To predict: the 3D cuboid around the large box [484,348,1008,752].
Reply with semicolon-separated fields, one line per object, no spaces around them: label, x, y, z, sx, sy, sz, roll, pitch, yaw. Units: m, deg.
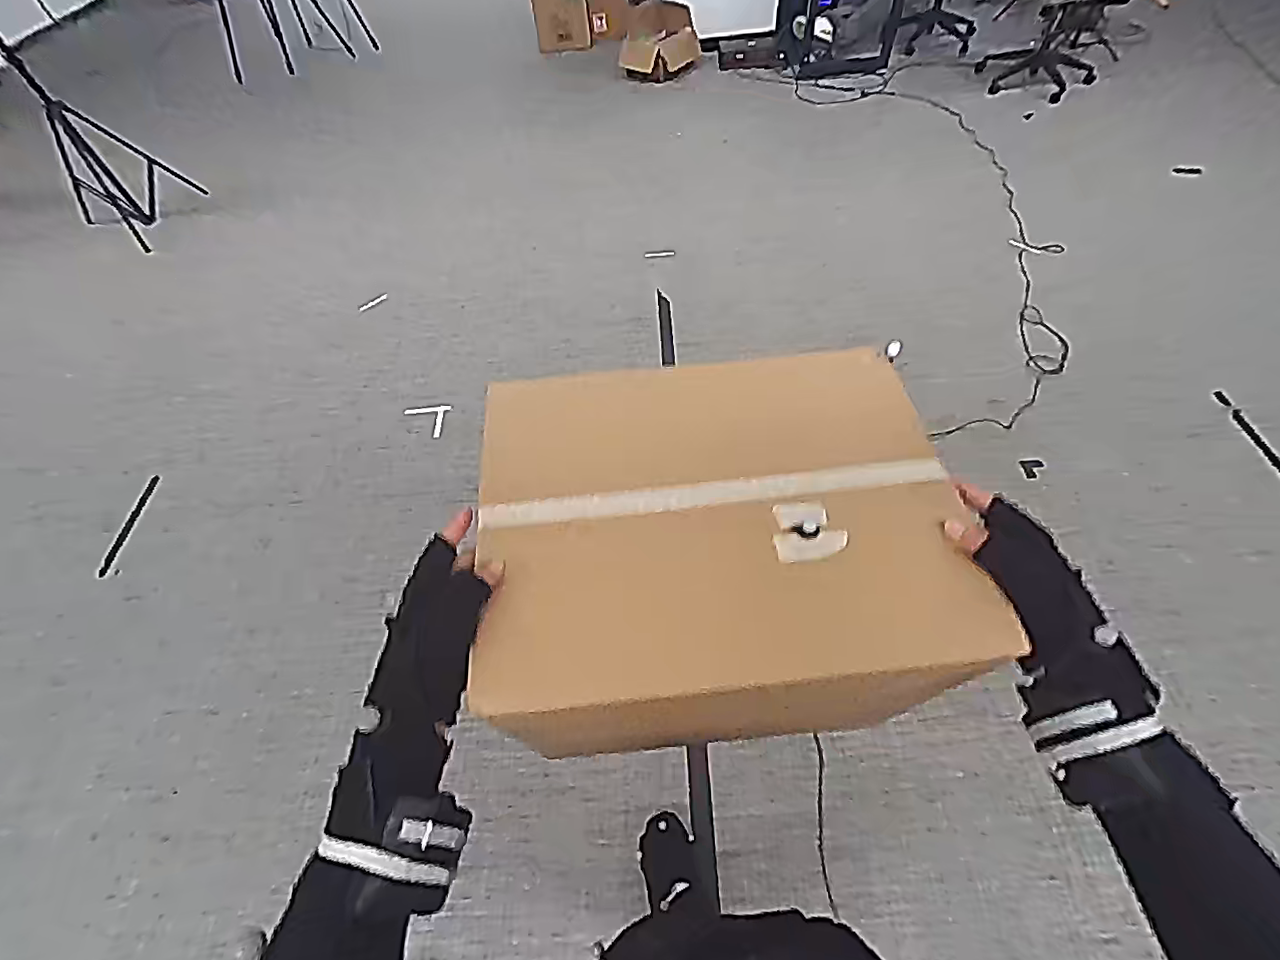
large box;0.066;0.090;0.600;0.408;0.320;0.320;-6;58;-3
